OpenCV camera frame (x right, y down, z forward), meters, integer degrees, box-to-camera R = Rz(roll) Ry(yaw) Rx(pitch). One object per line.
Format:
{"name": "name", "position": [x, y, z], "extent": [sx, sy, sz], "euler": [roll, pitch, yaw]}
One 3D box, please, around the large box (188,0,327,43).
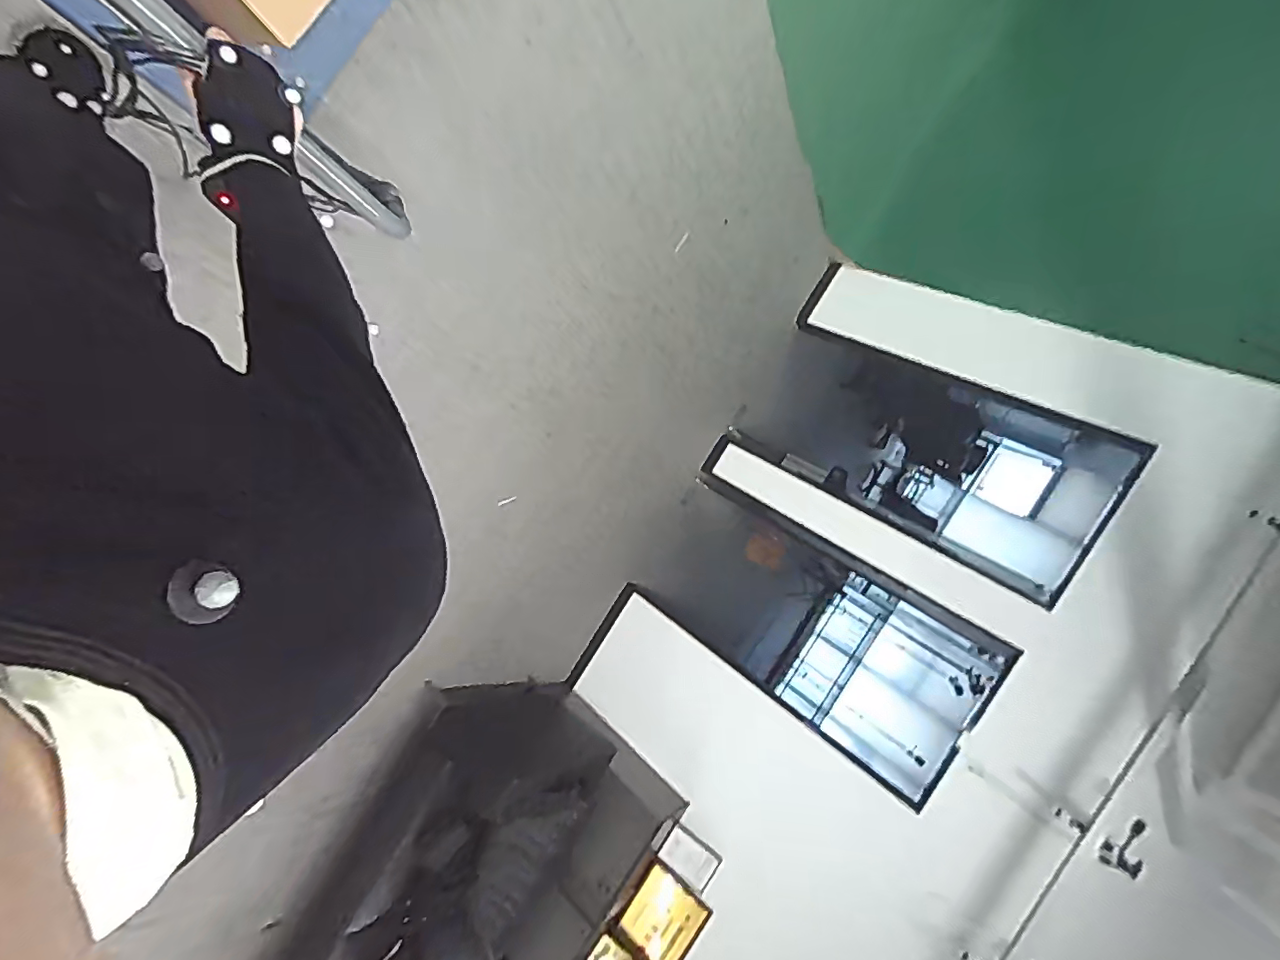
{"name": "large box", "position": [-0.603, -0.953, 0.795], "extent": [0.408, 0.320, 0.320], "euler": [-56, 150, -4]}
